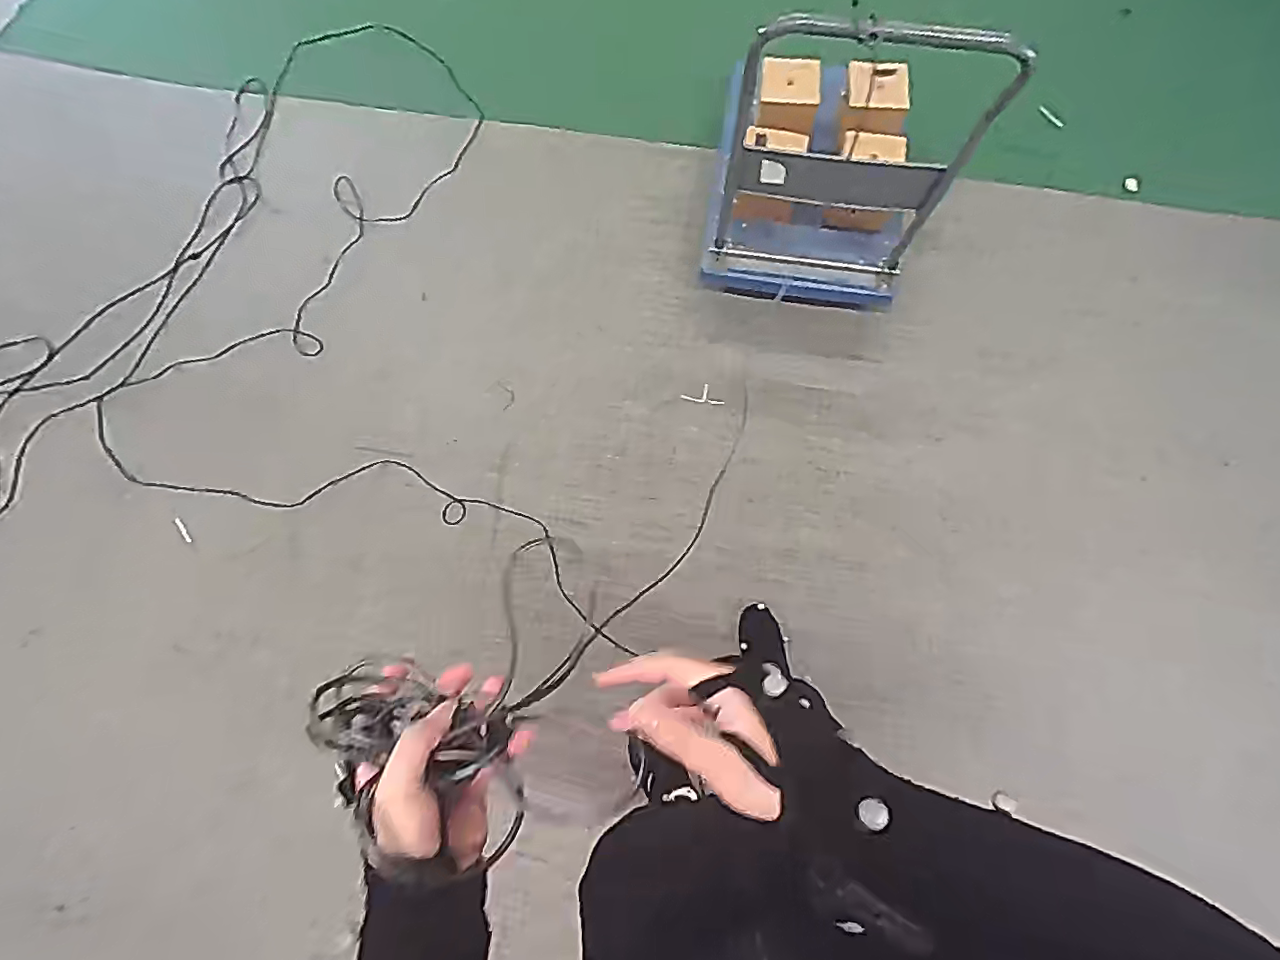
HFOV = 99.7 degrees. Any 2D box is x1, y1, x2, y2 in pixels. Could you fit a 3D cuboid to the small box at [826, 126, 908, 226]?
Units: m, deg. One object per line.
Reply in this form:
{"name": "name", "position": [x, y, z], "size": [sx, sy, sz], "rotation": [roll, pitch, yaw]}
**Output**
{"name": "small box", "position": [0.644, -0.867, 1.549], "size": [0.168, 0.176, 0.179], "rotation": [10, 74, 5]}

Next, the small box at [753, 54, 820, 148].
{"name": "small box", "position": [0.441, -1.143, 1.640], "size": [0.168, 0.176, 0.179], "rotation": [6, 73, 3]}

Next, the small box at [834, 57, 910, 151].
{"name": "small box", "position": [0.691, -1.122, 1.624], "size": [0.168, 0.176, 0.179], "rotation": [5, 74, 4]}
